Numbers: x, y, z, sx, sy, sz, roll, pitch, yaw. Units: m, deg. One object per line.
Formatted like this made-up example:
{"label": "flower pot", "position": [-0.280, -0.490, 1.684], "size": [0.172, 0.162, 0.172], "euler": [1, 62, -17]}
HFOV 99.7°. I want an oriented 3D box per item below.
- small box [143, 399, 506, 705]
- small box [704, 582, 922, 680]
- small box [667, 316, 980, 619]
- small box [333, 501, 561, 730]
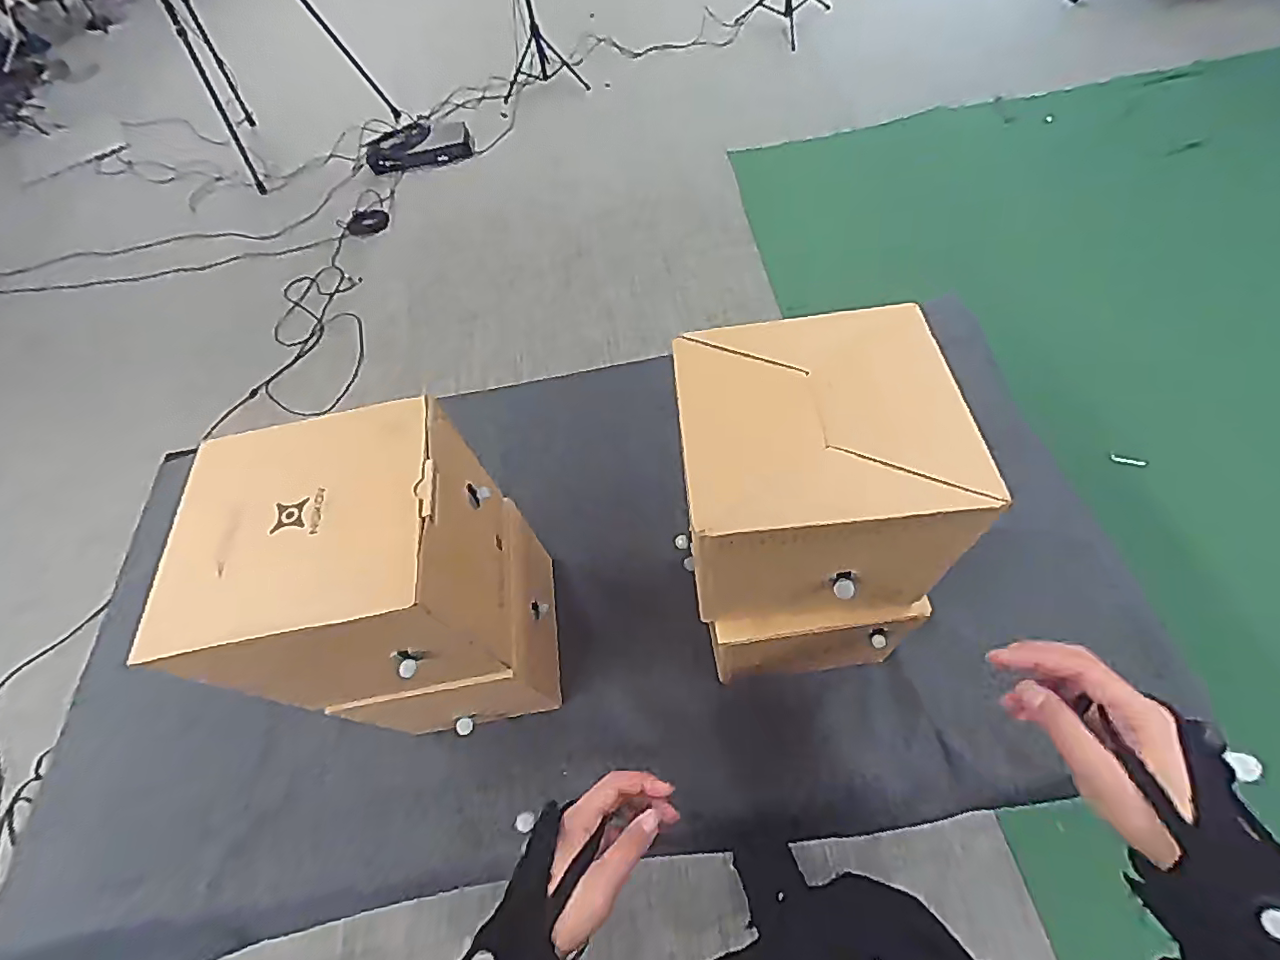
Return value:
{"label": "small box", "position": [-0.212, 0.066, 0.427], "size": [0.179, 0.176, 0.168], "euler": [-13, 57, 2]}
{"label": "small box", "position": [0.147, 0.095, 0.552], "size": [0.179, 0.176, 0.168], "euler": [-9, 58, 2]}
{"label": "small box", "position": [0.121, -0.004, 0.418], "size": [0.179, 0.176, 0.168], "euler": [-6, 58, 4]}
{"label": "small box", "position": [-0.186, 0.147, 0.566], "size": [0.168, 0.176, 0.179], "euler": [-11, 59, 2]}
